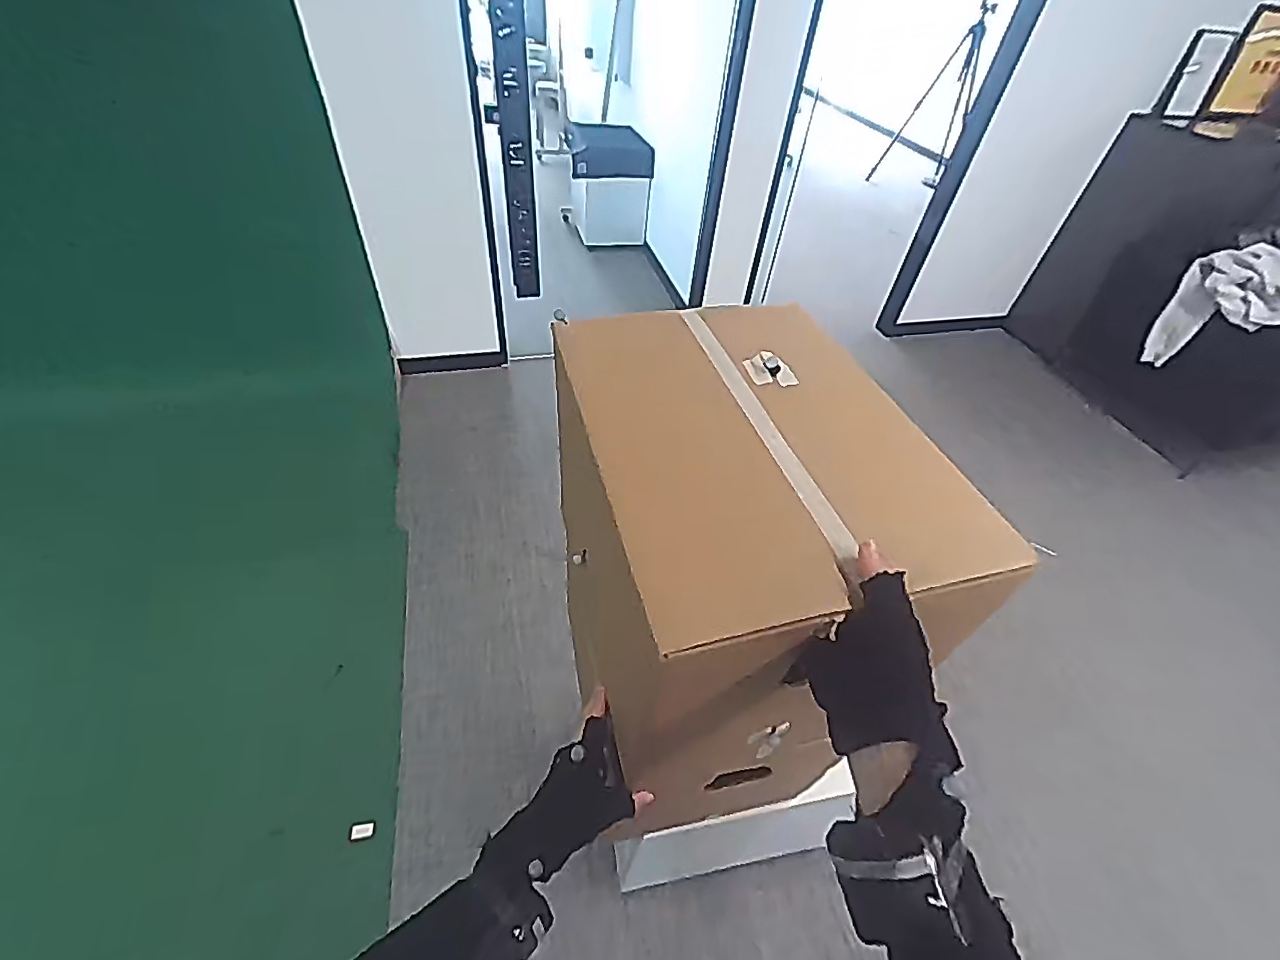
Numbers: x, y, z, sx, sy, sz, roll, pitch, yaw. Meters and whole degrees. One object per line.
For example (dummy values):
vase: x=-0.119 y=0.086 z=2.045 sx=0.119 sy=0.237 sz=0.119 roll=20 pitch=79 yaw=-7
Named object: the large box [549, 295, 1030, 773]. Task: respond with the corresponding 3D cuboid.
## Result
large box: x=0.094 y=0.039 z=0.613 sx=0.320 sy=0.320 sz=0.408 roll=-9 pitch=47 yaw=-14
